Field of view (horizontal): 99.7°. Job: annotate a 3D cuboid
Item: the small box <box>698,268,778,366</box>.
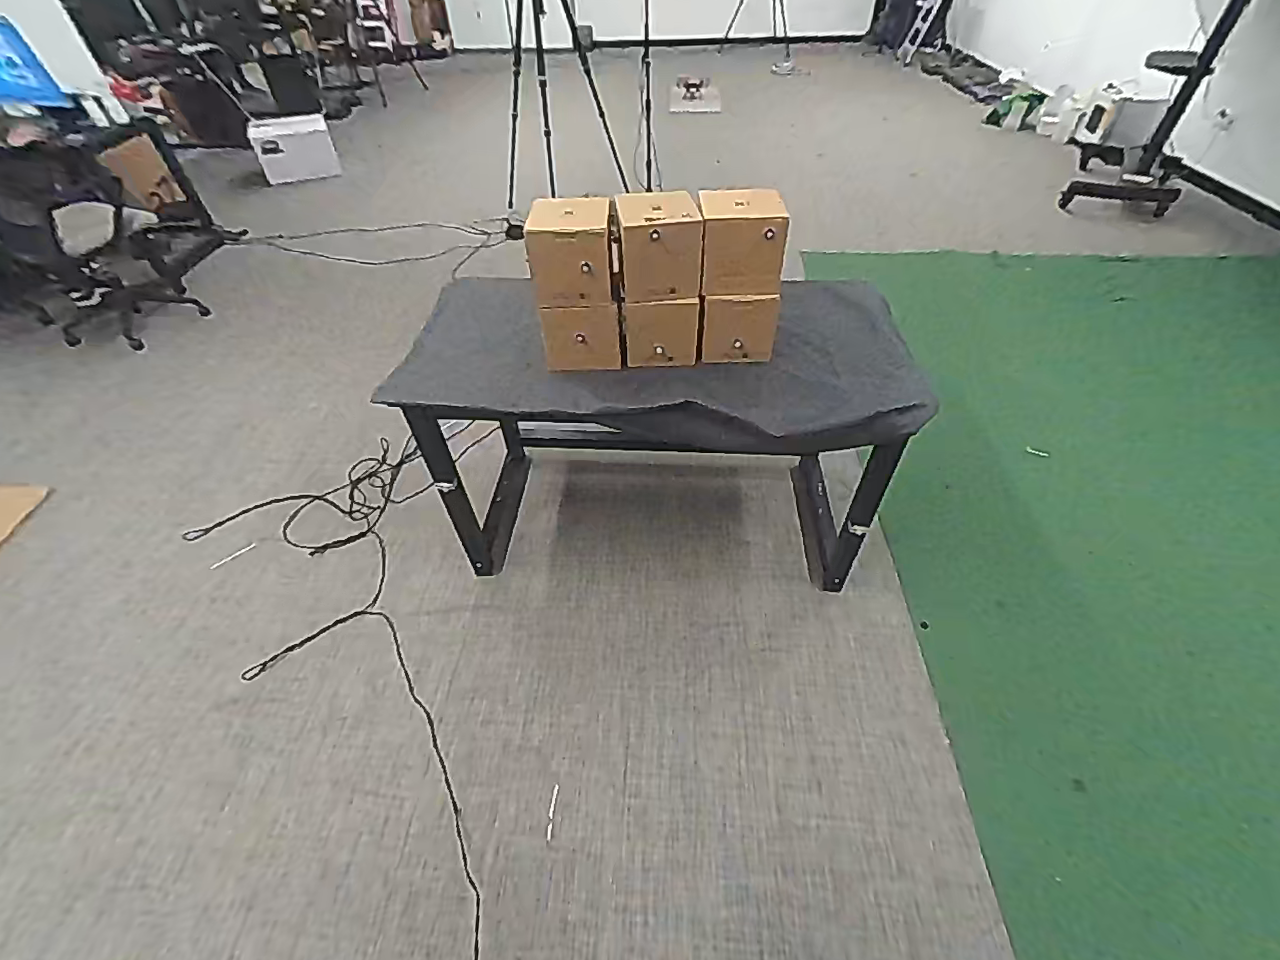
[{"bbox_3d":[0.228,-0.395,1.310,0.168,0.176,0.179,-1,46,2],"label":"small box"}]
